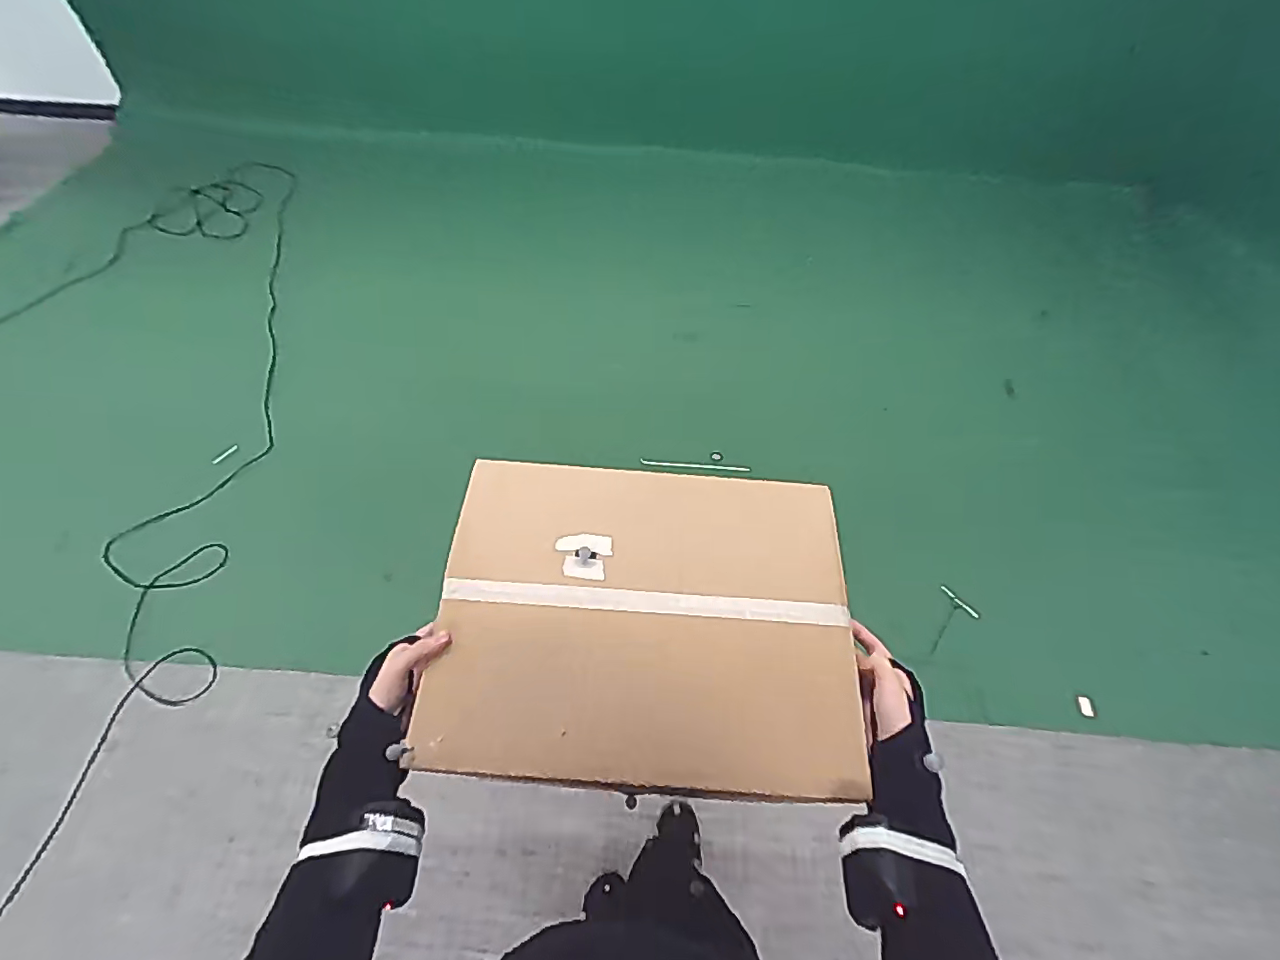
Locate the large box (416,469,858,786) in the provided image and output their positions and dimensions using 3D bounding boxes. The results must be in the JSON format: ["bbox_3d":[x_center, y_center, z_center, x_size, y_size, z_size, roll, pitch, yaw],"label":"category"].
[{"bbox_3d":[0.003,0.203,0.684,0.408,0.320,0.320,4,58,1],"label":"large box"}]
